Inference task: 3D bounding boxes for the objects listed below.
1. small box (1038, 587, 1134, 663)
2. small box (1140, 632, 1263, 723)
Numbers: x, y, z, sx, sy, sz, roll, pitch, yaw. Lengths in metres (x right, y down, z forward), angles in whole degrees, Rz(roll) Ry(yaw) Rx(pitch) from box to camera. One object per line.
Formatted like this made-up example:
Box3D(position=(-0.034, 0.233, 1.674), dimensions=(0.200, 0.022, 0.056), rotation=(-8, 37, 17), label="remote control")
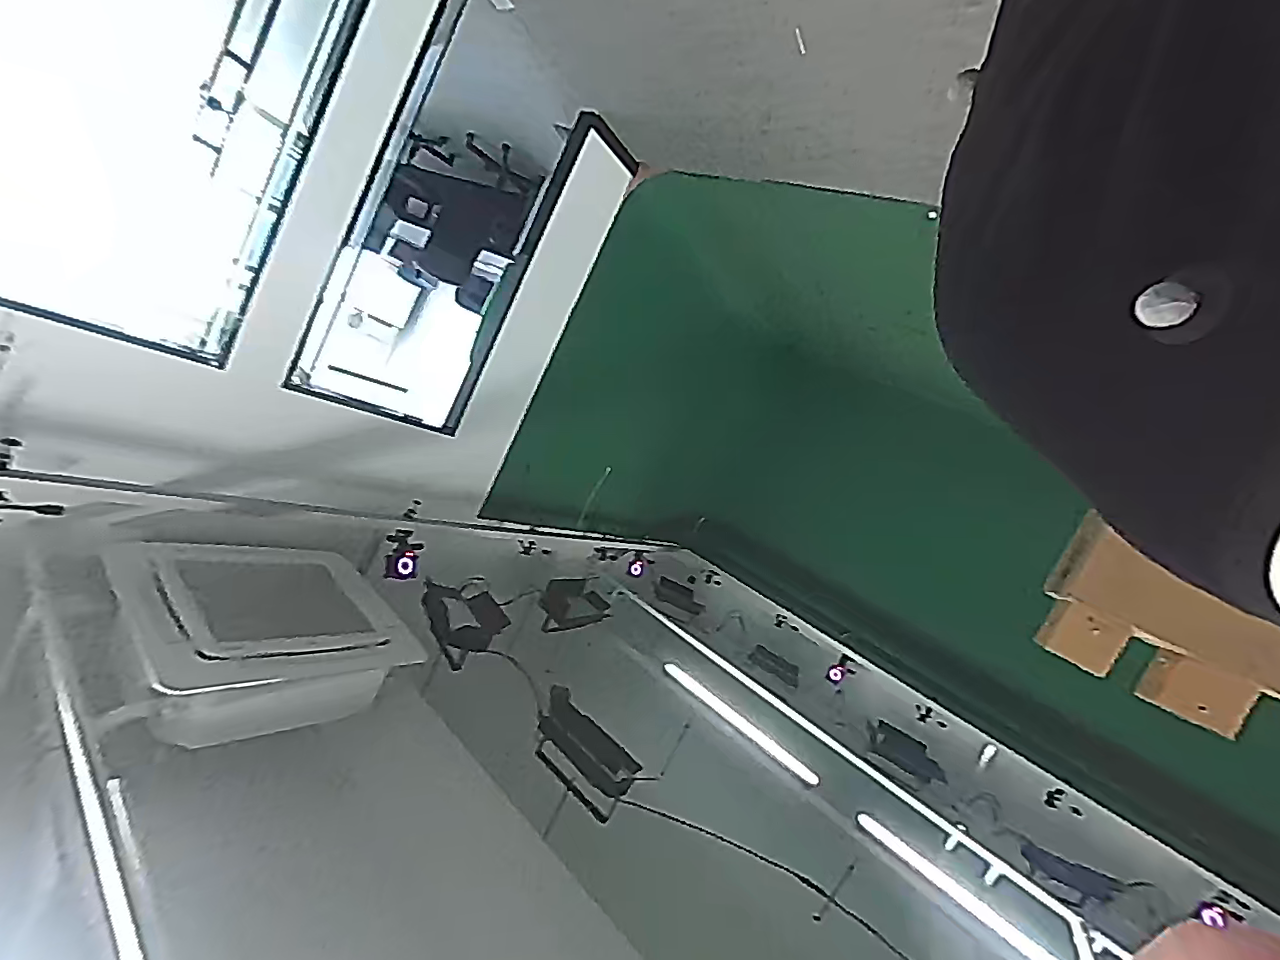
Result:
Box3D(position=(1.434, 0.459, 1.741), dimensions=(0.168, 0.176, 0.179), rotation=(30, -175, 26), label="small box")
Box3D(position=(1.655, 0.576, 1.597), dimensions=(0.179, 0.176, 0.168), rotation=(29, -176, 26), label="small box")
